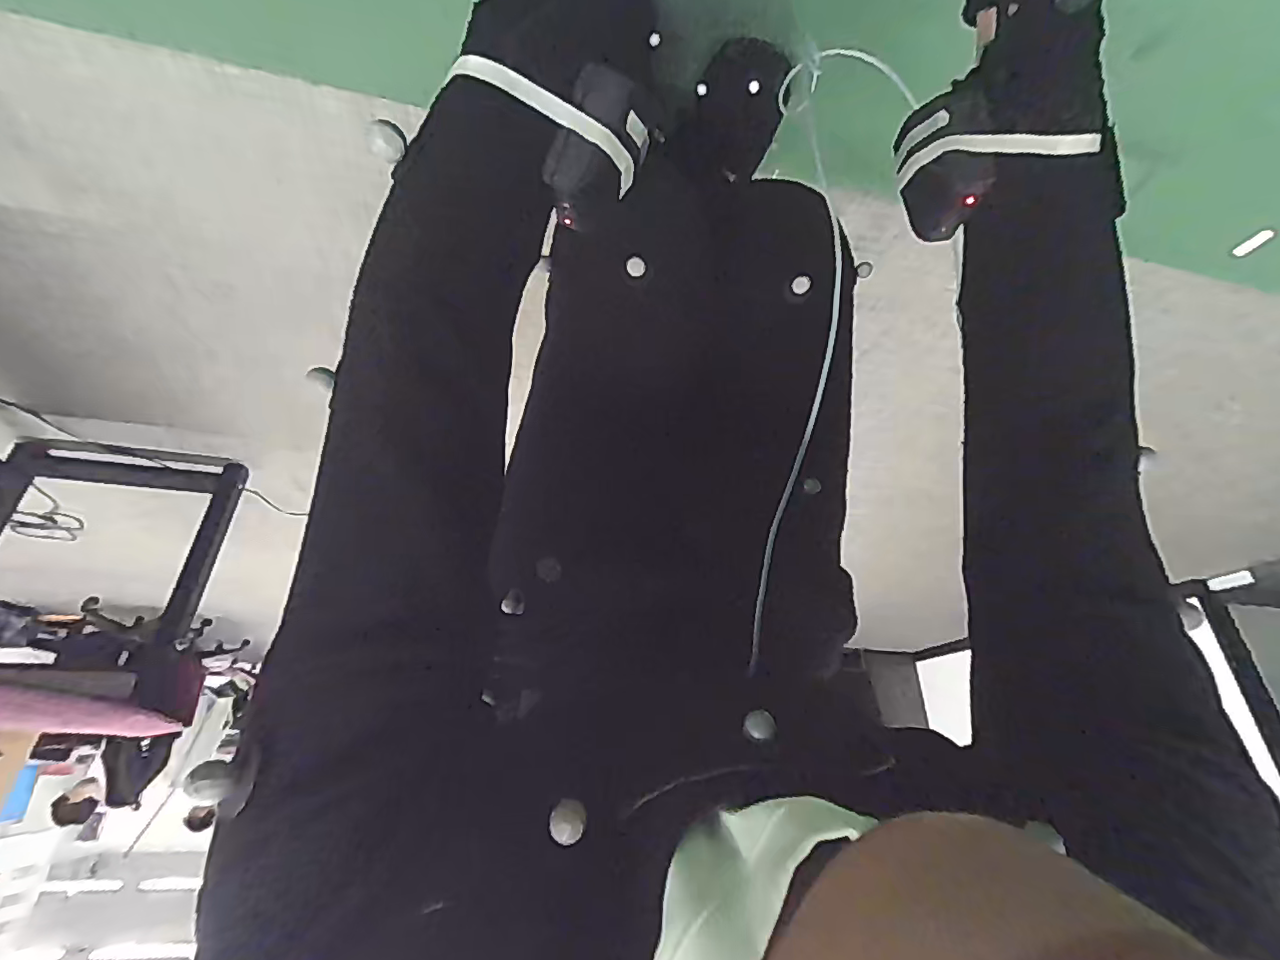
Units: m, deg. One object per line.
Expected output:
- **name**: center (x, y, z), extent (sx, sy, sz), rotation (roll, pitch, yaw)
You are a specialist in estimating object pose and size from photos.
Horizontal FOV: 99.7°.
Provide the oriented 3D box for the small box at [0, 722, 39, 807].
- **small box**: center (-1.358, 0.557, 1.046), extent (0.179, 0.176, 0.168), rotation (4, 152, -5)
